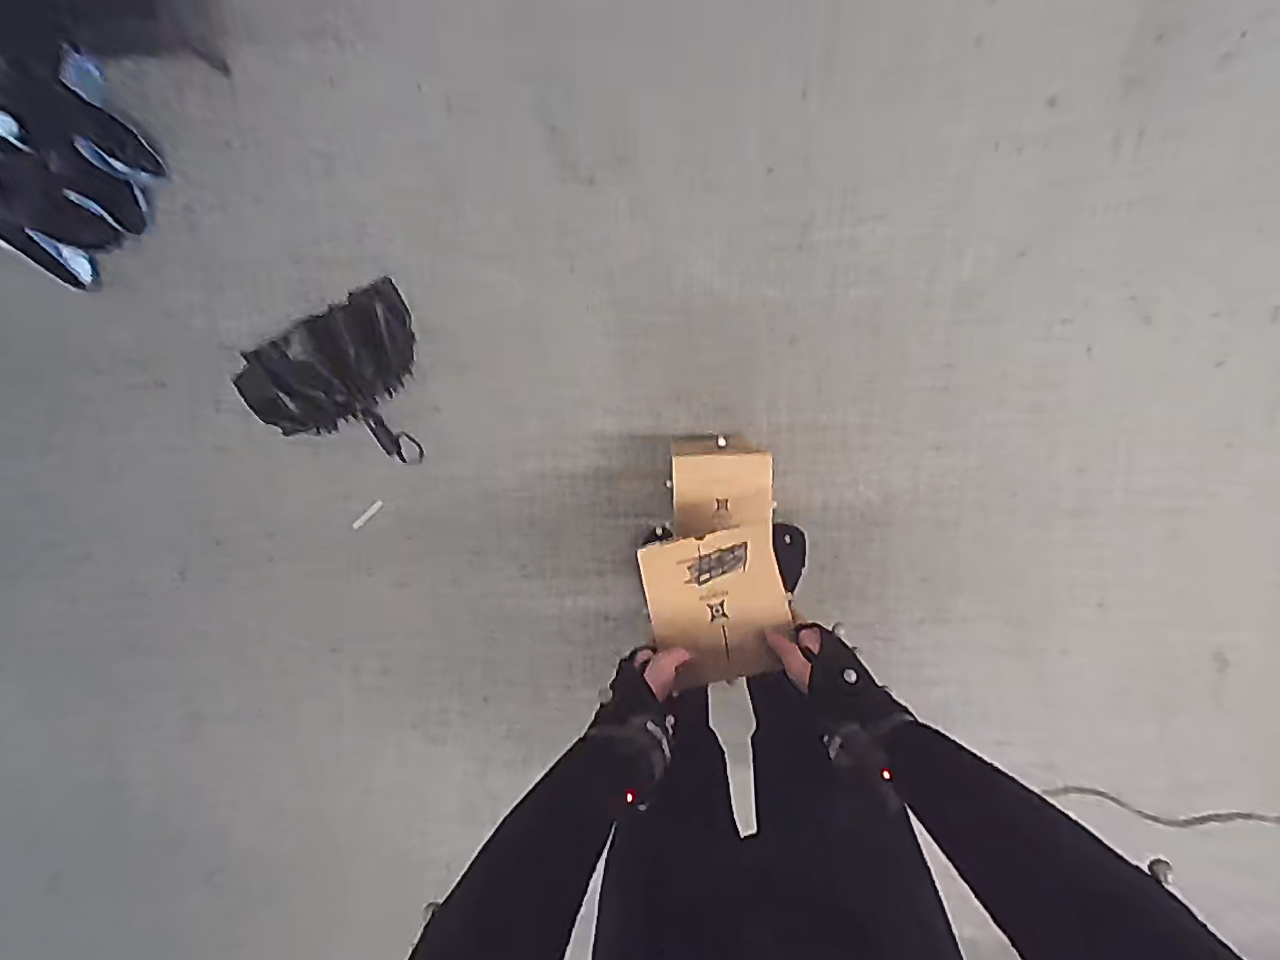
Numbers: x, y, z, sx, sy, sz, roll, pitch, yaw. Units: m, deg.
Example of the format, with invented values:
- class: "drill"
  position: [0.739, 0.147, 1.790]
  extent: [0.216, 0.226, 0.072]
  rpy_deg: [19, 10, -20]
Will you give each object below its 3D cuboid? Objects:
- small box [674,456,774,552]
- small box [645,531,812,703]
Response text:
- class: "small box"
  position: [0.149, 0.051, 0.986]
  extent: [0.168, 0.176, 0.179]
  rpy_deg: [-3, 96, 3]
- class: "small box"
  position: [0.112, 0.184, 0.725]
  extent: [0.168, 0.176, 0.179]
  rpy_deg: [-15, 73, 5]
